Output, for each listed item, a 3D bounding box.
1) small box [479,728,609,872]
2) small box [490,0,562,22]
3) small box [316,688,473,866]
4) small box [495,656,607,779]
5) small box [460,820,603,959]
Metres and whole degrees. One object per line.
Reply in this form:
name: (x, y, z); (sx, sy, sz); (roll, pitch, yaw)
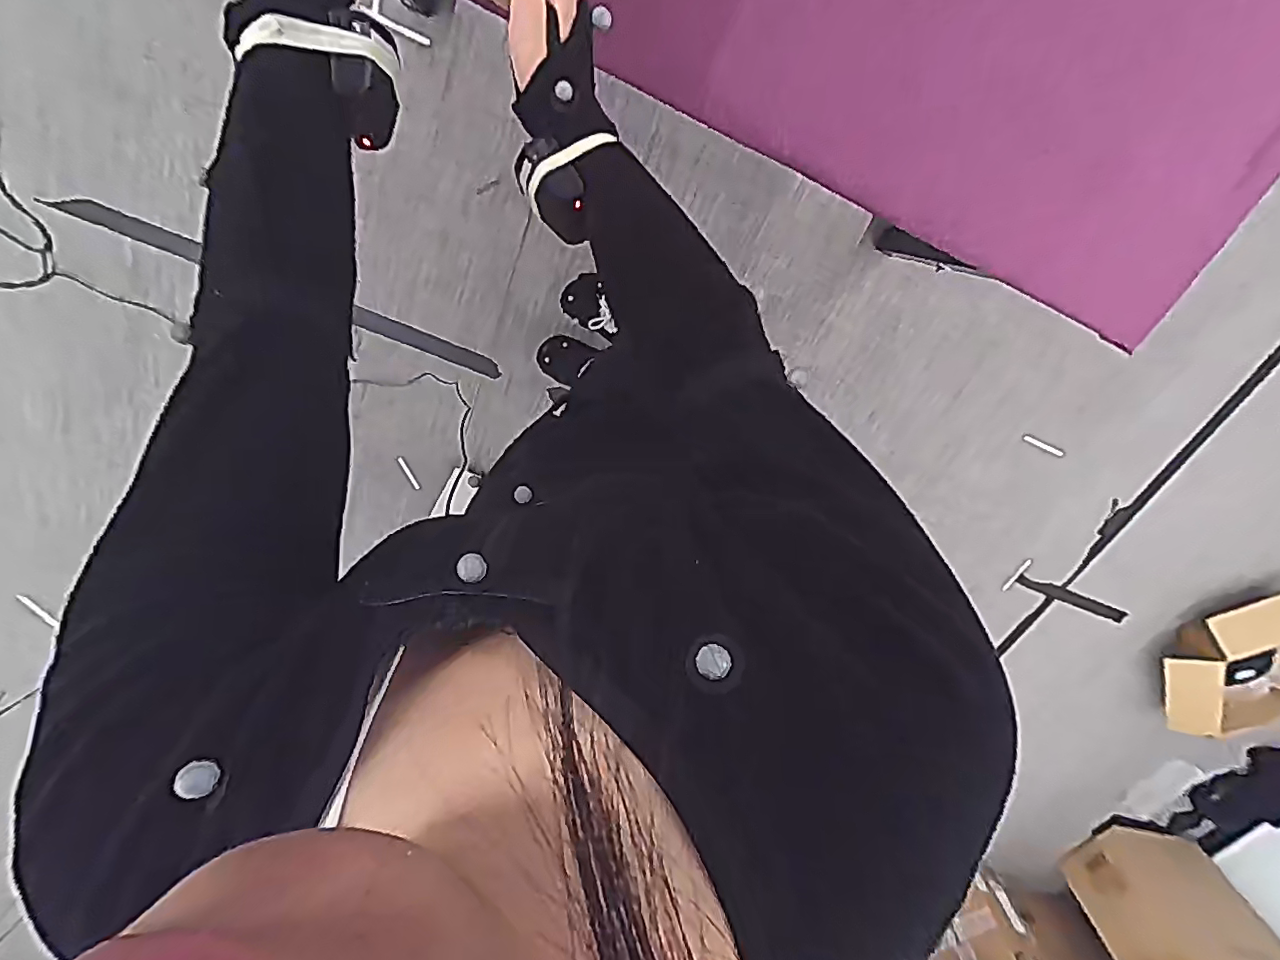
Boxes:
small box: (-0.163, 0.564, 0.936); (0.168, 0.176, 0.179); (19, 116, -13)
small box: (-0.119, -0.488, 0.401); (0.179, 0.176, 0.168); (24, 115, -15)
small box: (-0.385, 0.474, 0.871); (0.168, 0.176, 0.179); (22, 114, -15)
small box: (-0.171, 0.488, 1.079); (0.168, 0.176, 0.179); (20, 117, -15)
small box: (-0.156, 0.642, 0.794); (0.168, 0.176, 0.179); (19, 115, -14)
